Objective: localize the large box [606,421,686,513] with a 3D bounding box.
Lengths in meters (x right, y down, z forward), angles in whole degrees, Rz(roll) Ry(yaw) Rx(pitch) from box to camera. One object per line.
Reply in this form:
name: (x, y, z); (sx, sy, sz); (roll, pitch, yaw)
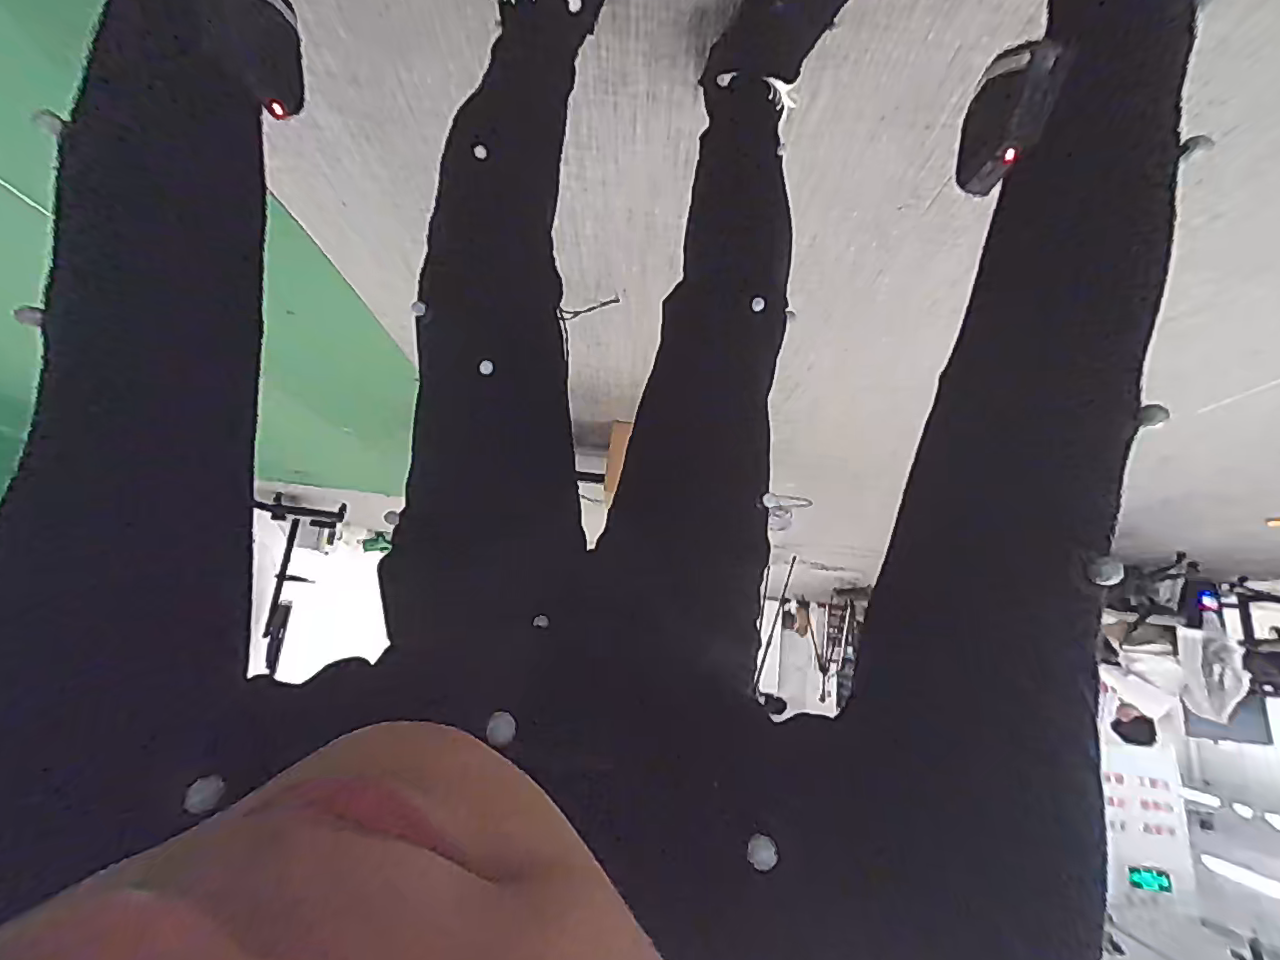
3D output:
large box: (0.028, -0.048, 2.404); (0.320, 0.320, 0.408); (7, 167, 1)
